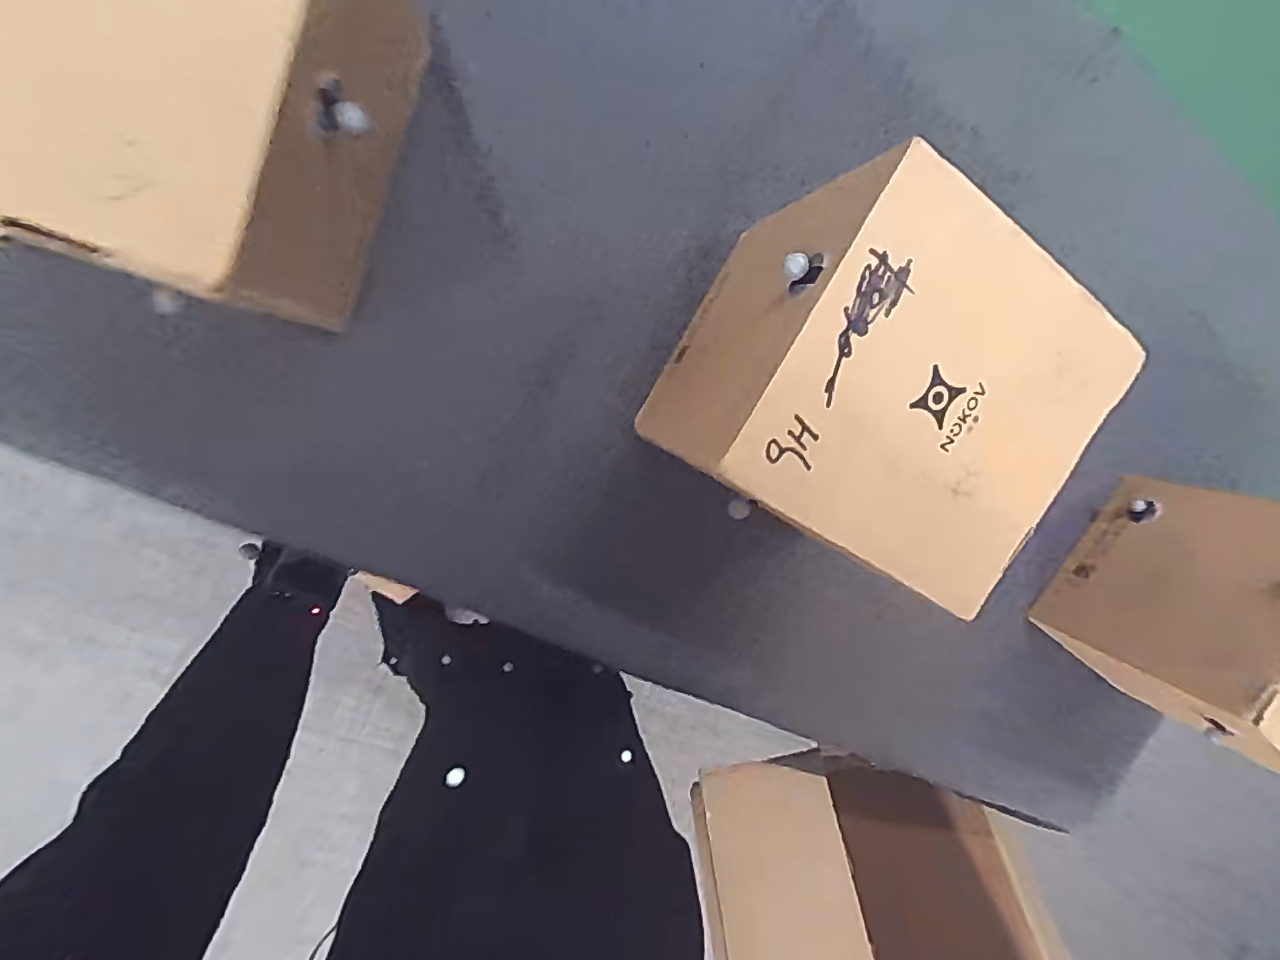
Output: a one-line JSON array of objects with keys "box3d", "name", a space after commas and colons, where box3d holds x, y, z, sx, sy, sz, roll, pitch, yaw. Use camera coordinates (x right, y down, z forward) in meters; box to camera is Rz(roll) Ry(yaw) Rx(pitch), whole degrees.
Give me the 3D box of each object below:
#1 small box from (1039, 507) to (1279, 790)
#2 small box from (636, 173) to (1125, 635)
[{"box3d": [0.497, 0.139, 0.458, 0.179, 0.176, 0.168, 35, 91, -17], "name": "small box"}, {"box3d": [0.123, -0.040, 0.336, 0.179, 0.176, 0.168, 30, 92, -18], "name": "small box"}]
